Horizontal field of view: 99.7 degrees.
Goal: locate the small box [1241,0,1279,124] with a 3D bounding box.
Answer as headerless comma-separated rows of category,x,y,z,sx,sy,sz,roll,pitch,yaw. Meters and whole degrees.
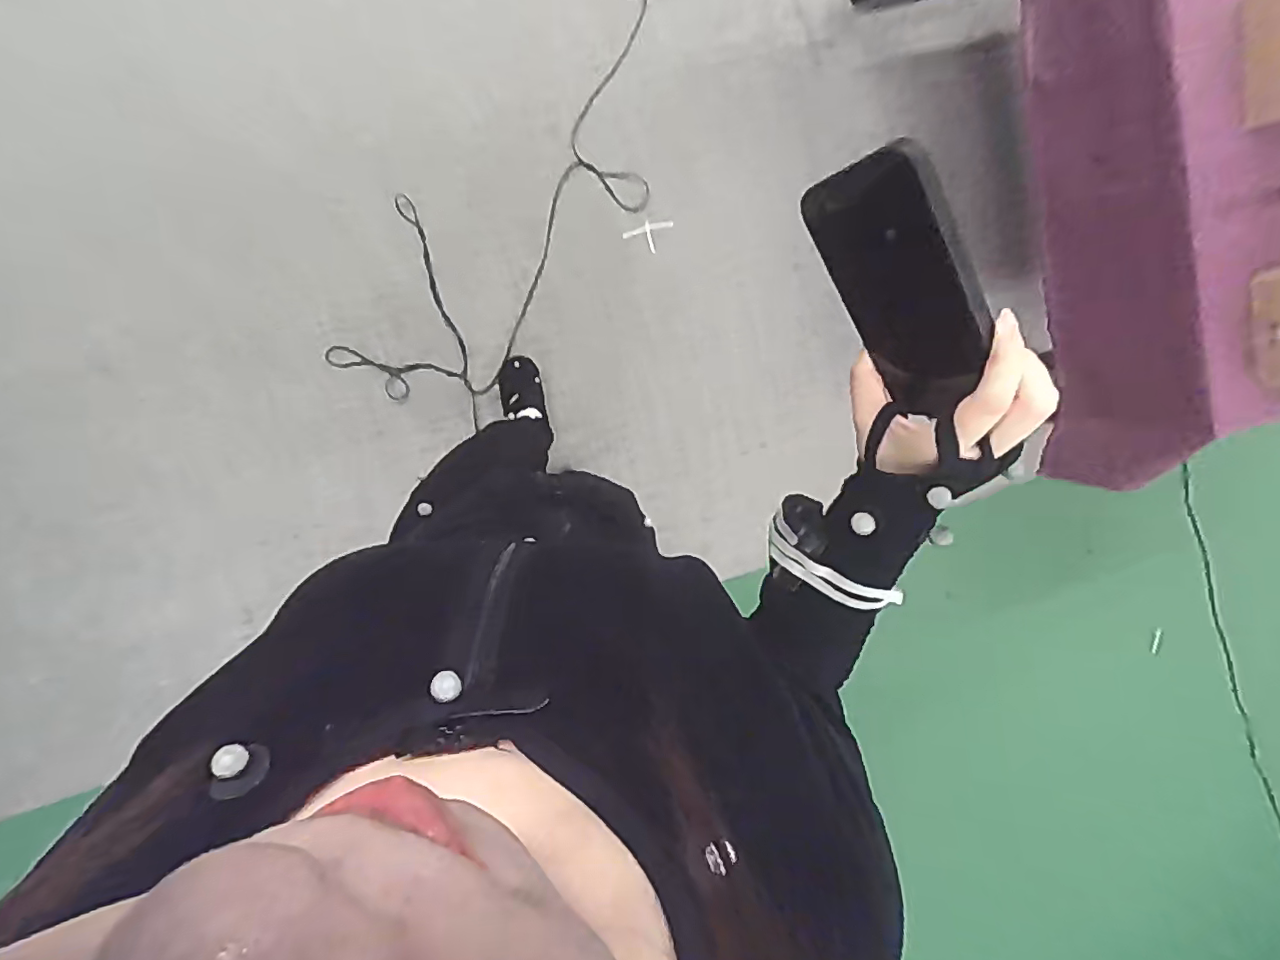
small box,0.980,-0.626,0.732,0.168,0.176,0.179,-14,101,-6

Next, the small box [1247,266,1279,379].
small box,1.065,-0.250,0.797,0.168,0.176,0.179,-18,100,-6
